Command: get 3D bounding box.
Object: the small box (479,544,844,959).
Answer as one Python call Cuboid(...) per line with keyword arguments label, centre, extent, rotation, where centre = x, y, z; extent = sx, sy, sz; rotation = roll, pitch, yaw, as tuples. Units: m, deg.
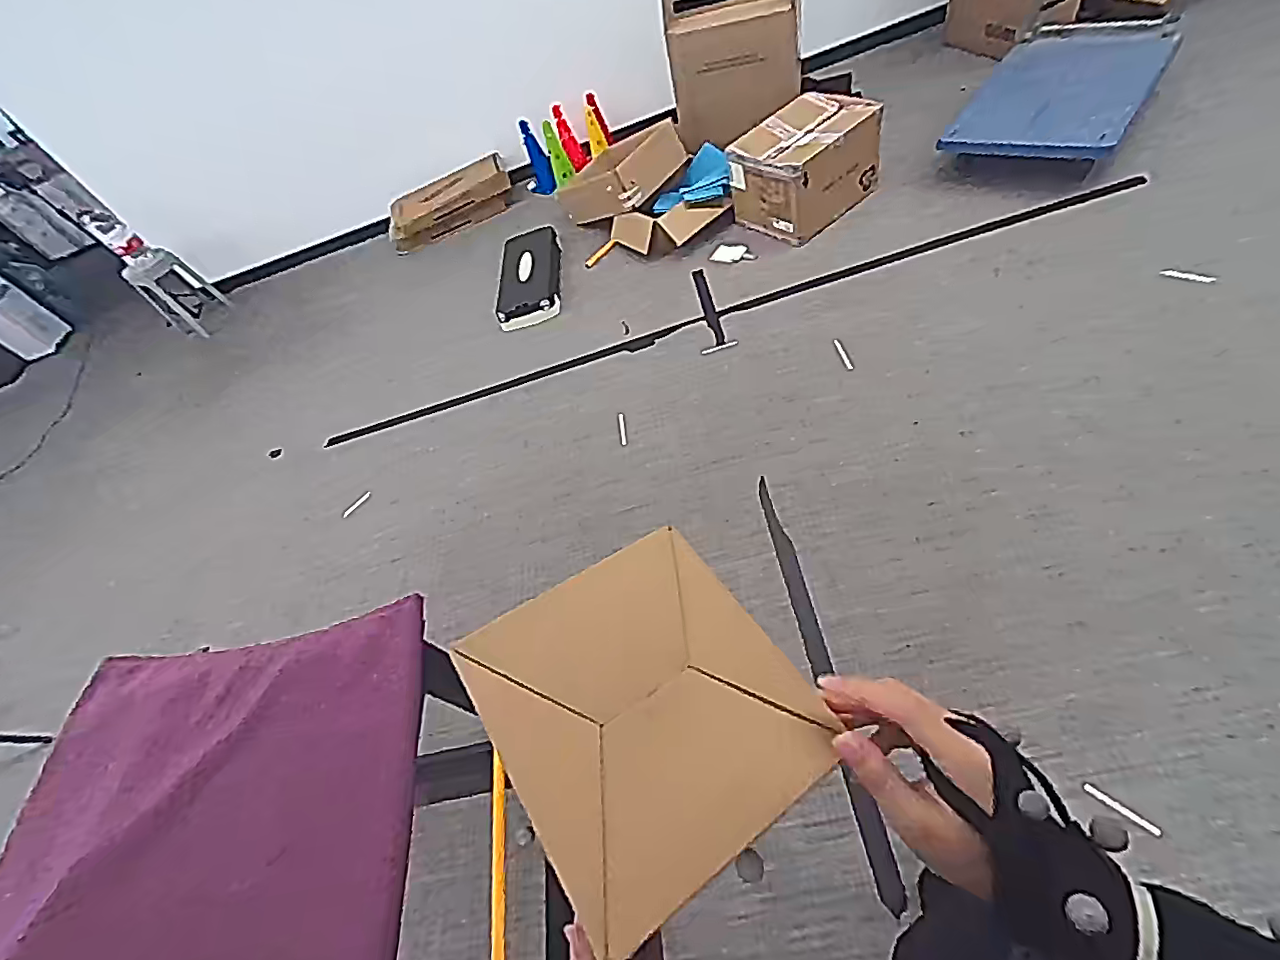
Cuboid(label="small box", centre=(0.003, 0.175, 0.370), extent=(0.168, 0.176, 0.179), rotation=(-26, 56, -23))
